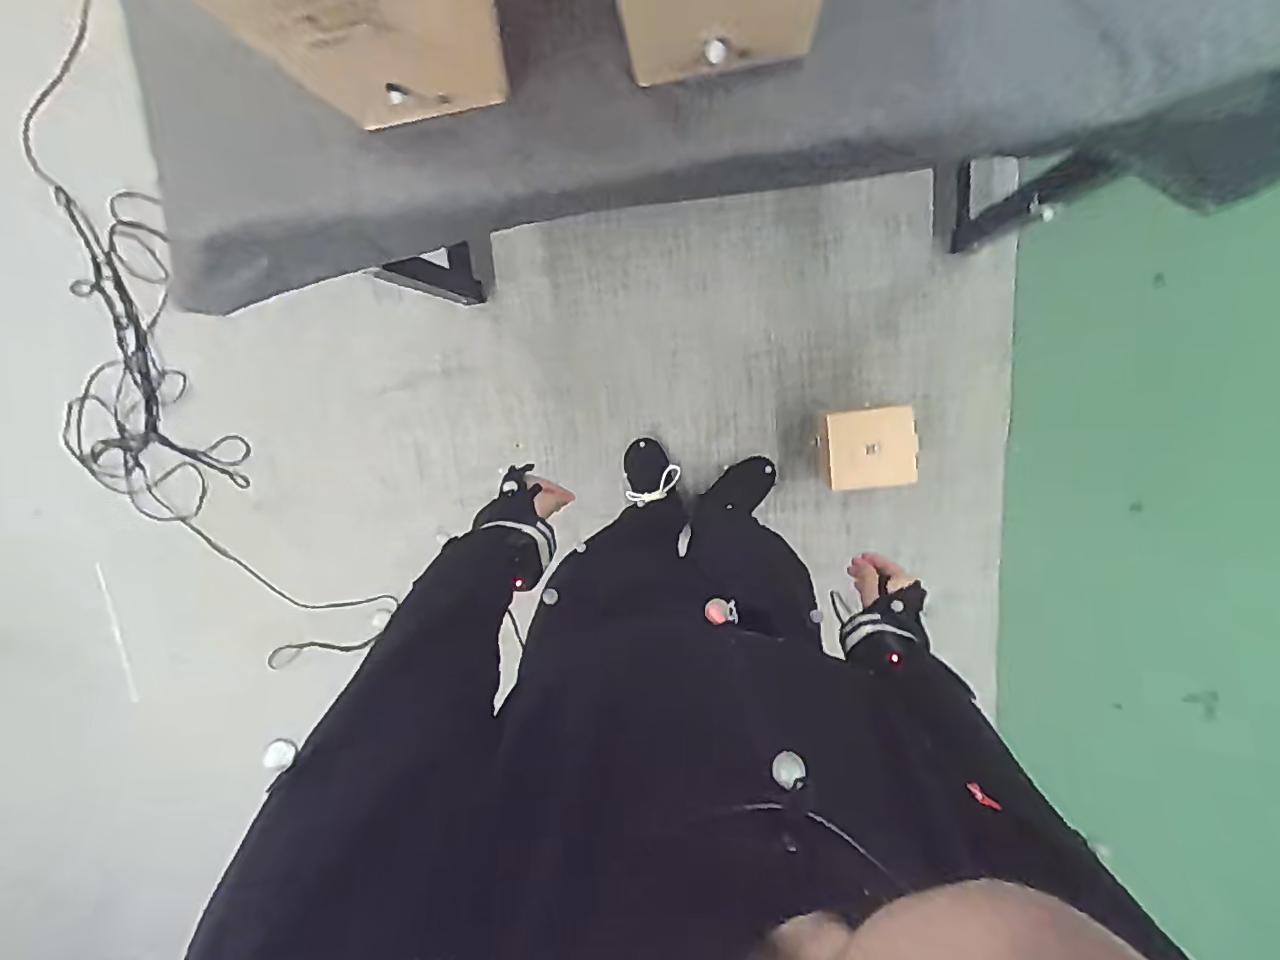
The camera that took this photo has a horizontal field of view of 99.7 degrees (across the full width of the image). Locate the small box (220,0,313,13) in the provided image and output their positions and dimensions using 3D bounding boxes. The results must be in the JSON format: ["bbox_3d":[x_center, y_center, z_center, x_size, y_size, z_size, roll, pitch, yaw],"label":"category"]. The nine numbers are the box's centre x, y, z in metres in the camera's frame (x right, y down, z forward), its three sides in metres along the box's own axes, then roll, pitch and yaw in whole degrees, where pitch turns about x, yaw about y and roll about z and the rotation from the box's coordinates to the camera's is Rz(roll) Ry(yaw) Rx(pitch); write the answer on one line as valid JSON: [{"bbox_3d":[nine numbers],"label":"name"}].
[{"bbox_3d":[-0.252,-0.422,0.314,0.168,0.176,0.179,-8,100,8],"label":"small box"}]

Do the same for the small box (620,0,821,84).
[{"bbox_3d":[0.059,-0.466,0.429,0.168,0.176,0.179,-5,99,9],"label":"small box"}]

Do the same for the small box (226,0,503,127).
[{"bbox_3d":[-0.237,-0.453,0.474,0.168,0.176,0.179,-6,99,8],"label":"small box"}]

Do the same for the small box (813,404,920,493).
[{"bbox_3d":[0.491,-0.075,1.189,0.179,0.176,0.168,-7,98,9],"label":"small box"}]
